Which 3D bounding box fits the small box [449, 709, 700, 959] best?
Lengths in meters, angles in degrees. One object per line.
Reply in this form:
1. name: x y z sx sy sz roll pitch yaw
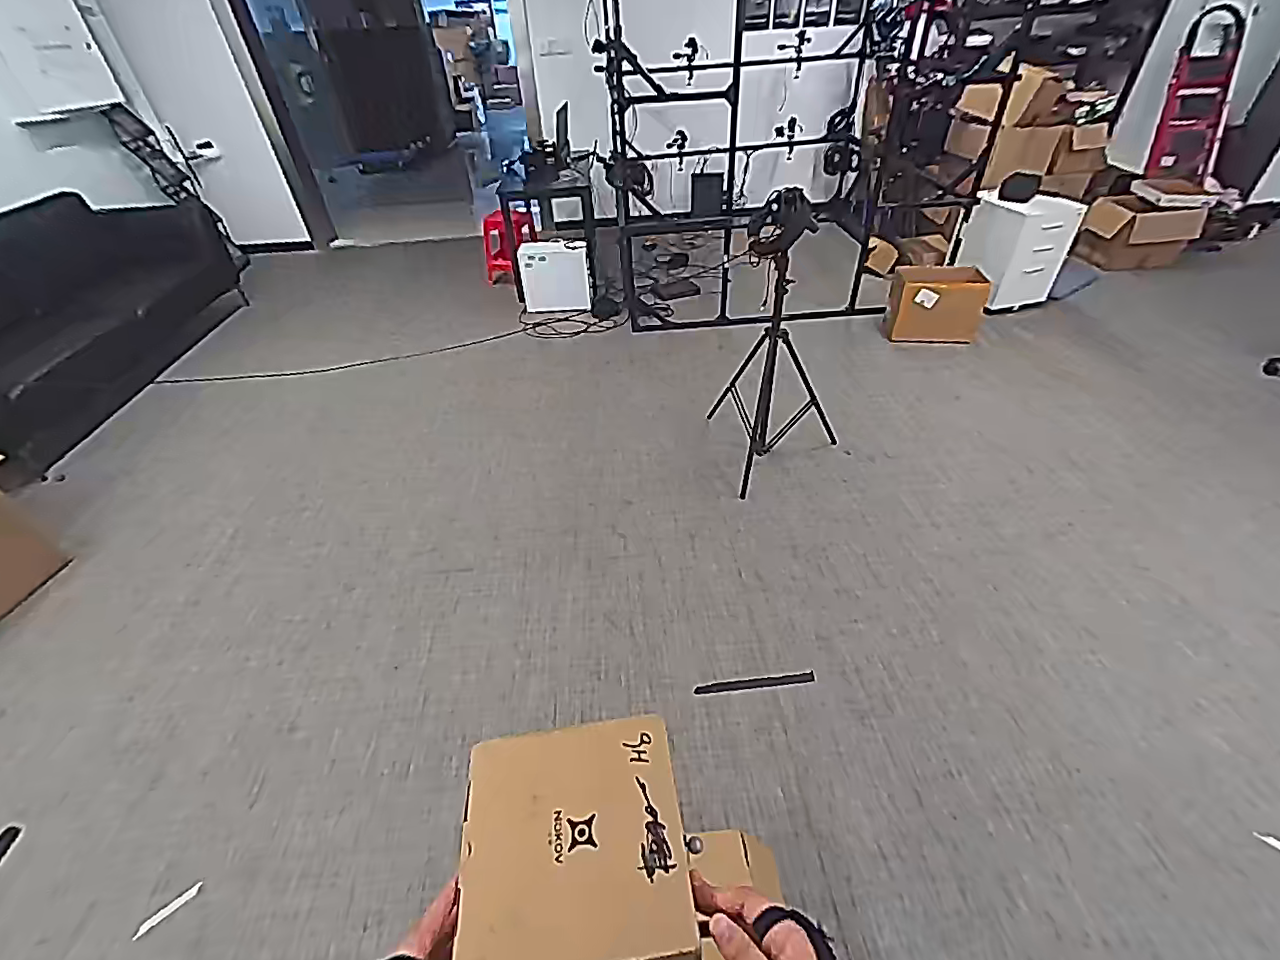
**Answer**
1. small box: -0.049 0.333 0.485 0.179 0.176 0.168 -10 45 -1
